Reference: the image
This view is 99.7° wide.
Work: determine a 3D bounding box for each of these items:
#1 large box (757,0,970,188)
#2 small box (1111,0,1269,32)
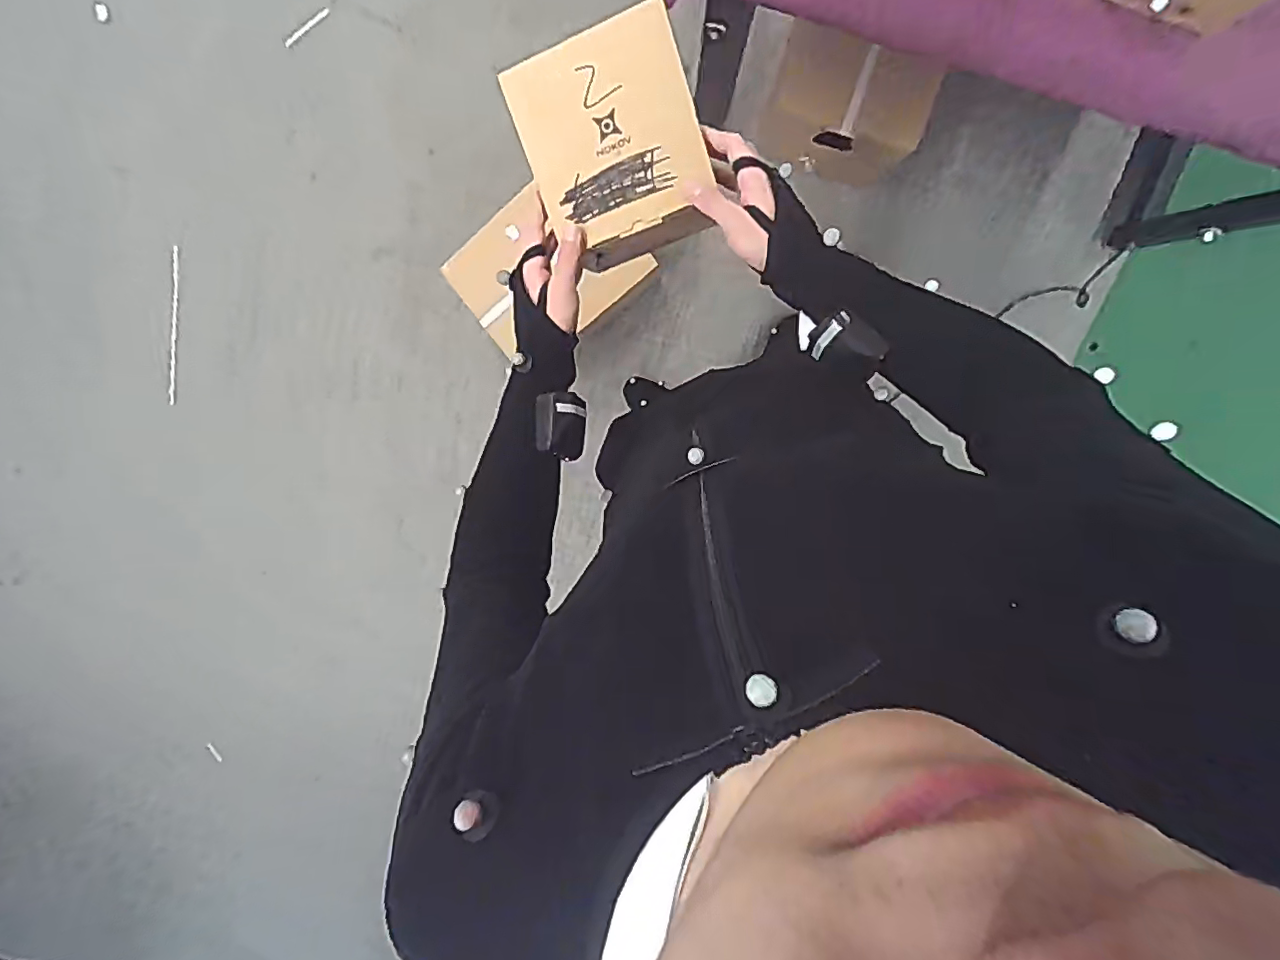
[{"bbox_3d":[0.482,-0.938,1.206,0.320,0.320,0.408,16,105,-1],"label":"large box"},{"bbox_3d":[0.670,-0.649,0.586,0.168,0.176,0.179,18,105,0],"label":"small box"}]
